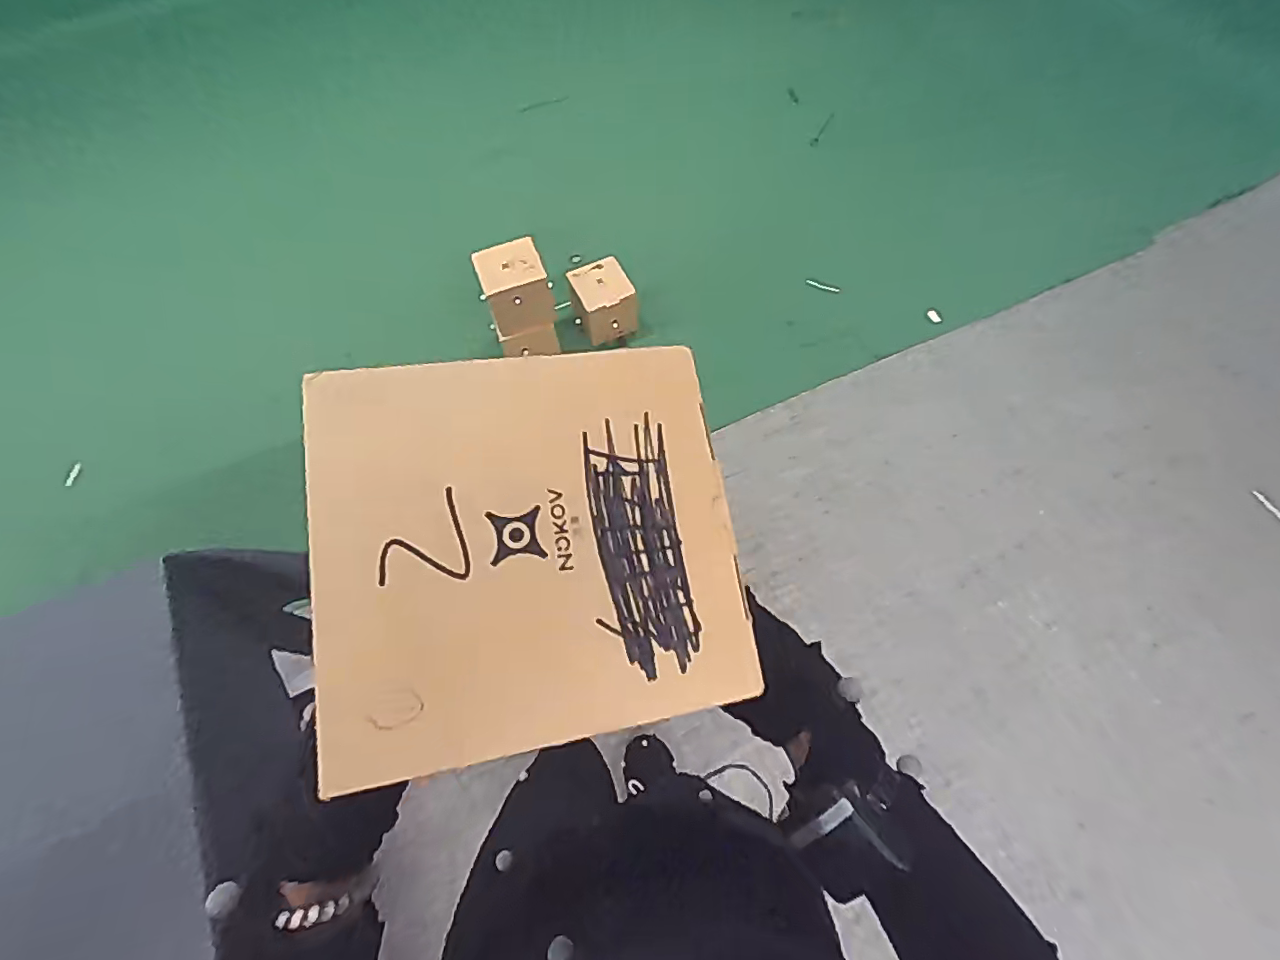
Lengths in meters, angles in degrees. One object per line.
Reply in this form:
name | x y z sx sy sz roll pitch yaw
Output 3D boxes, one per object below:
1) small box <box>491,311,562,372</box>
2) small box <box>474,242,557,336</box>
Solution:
small box | -0.354 -0.461 1.698 0.168 0.176 0.179 -19 66 -7
small box | -0.353 -0.541 1.554 0.179 0.176 0.168 -20 66 -8
